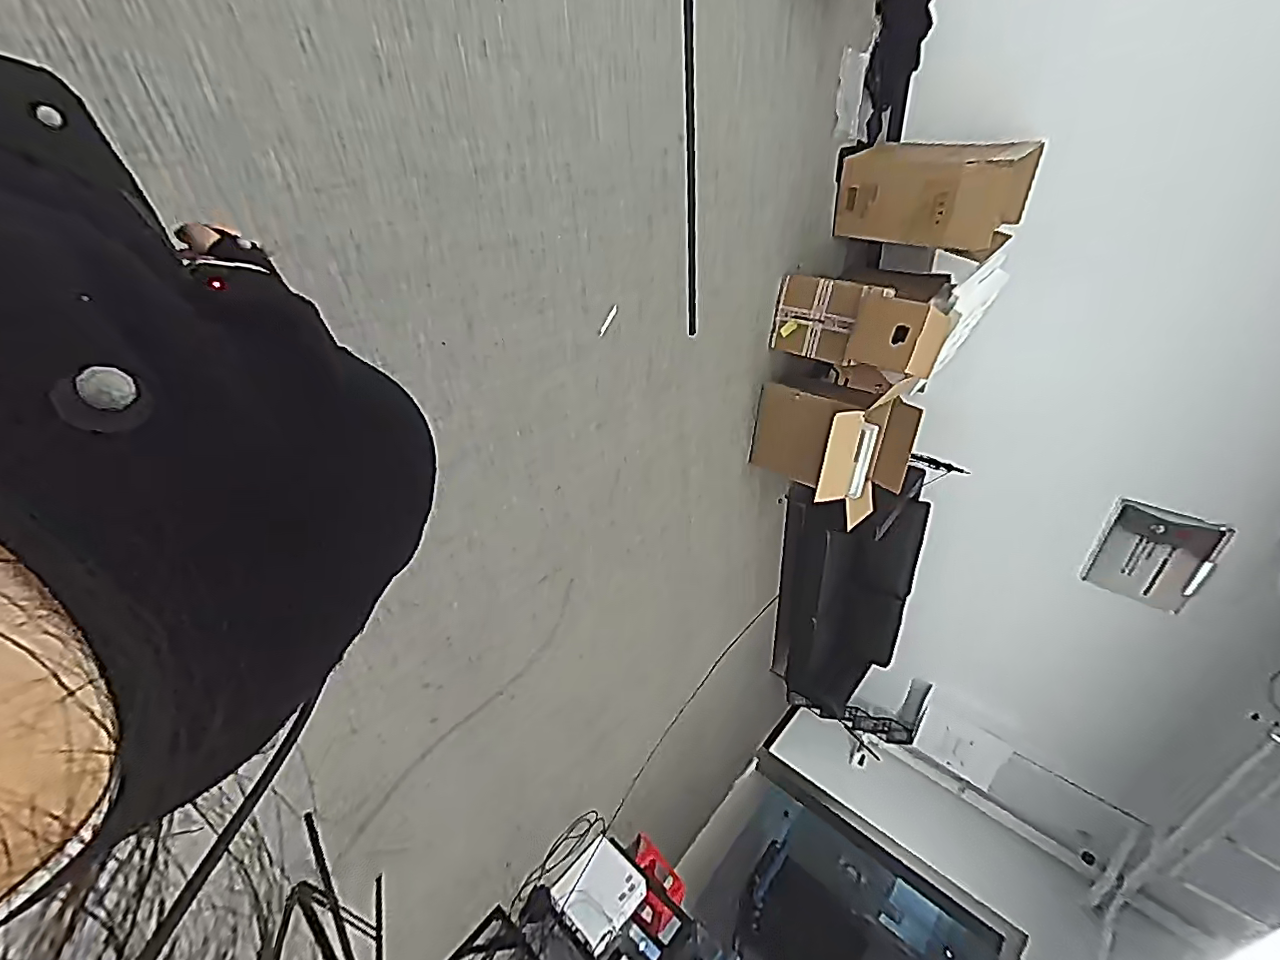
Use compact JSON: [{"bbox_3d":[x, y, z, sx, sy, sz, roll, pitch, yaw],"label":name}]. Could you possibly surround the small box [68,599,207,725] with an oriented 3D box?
[{"bbox_3d":[-1.143,0.407,1.235,0.168,0.176,0.179,-35,135,-35],"label":"small box"}]
